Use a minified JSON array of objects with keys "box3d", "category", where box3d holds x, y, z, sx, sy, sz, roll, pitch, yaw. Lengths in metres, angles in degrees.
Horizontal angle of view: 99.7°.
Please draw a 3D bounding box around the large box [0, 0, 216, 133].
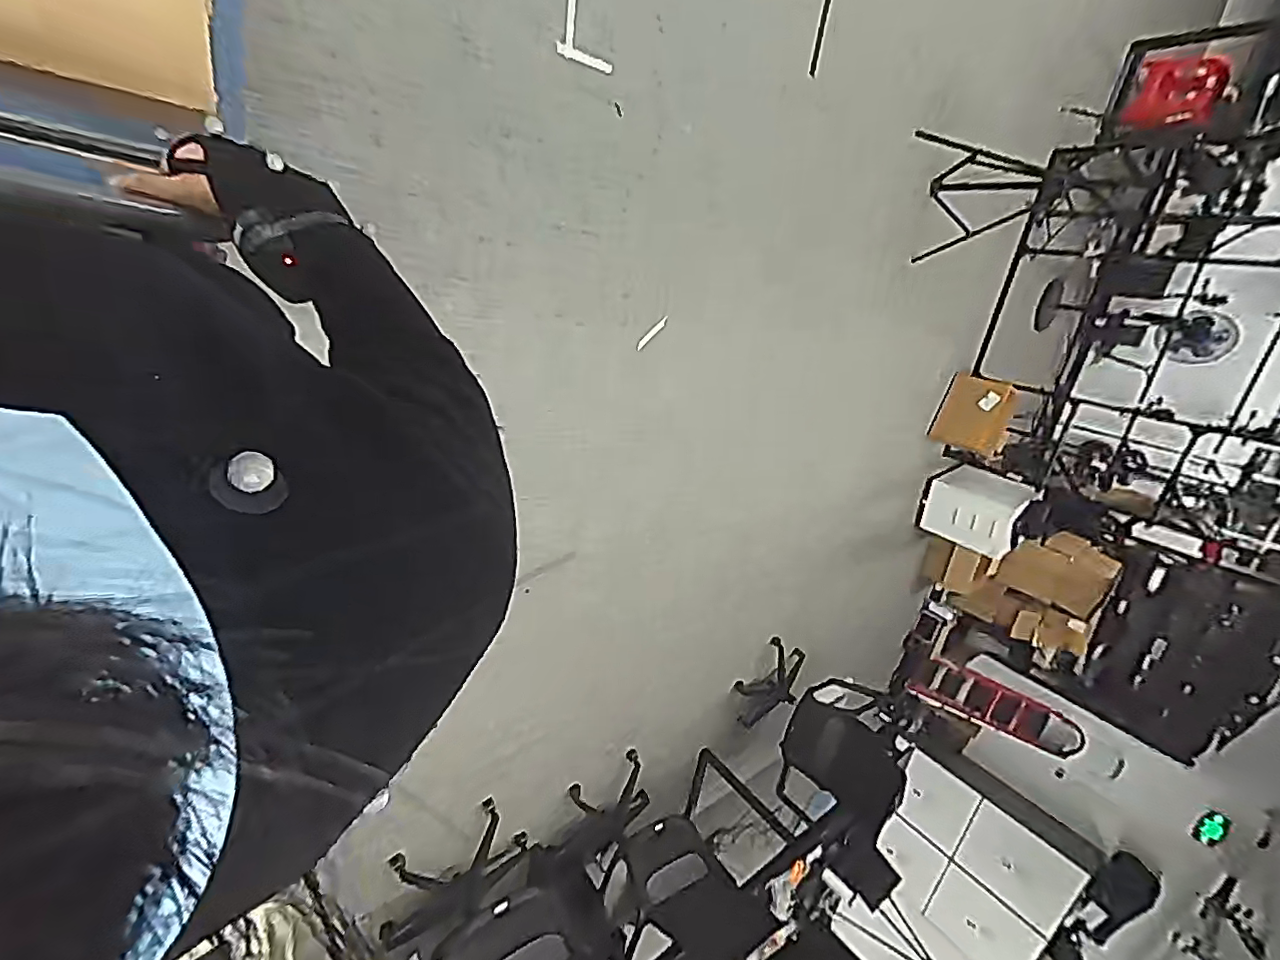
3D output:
[{"box3d":[-0.792,-0.656,0.646,0.408,0.320,0.320,-9,117,-40],"category":"large box"}]
